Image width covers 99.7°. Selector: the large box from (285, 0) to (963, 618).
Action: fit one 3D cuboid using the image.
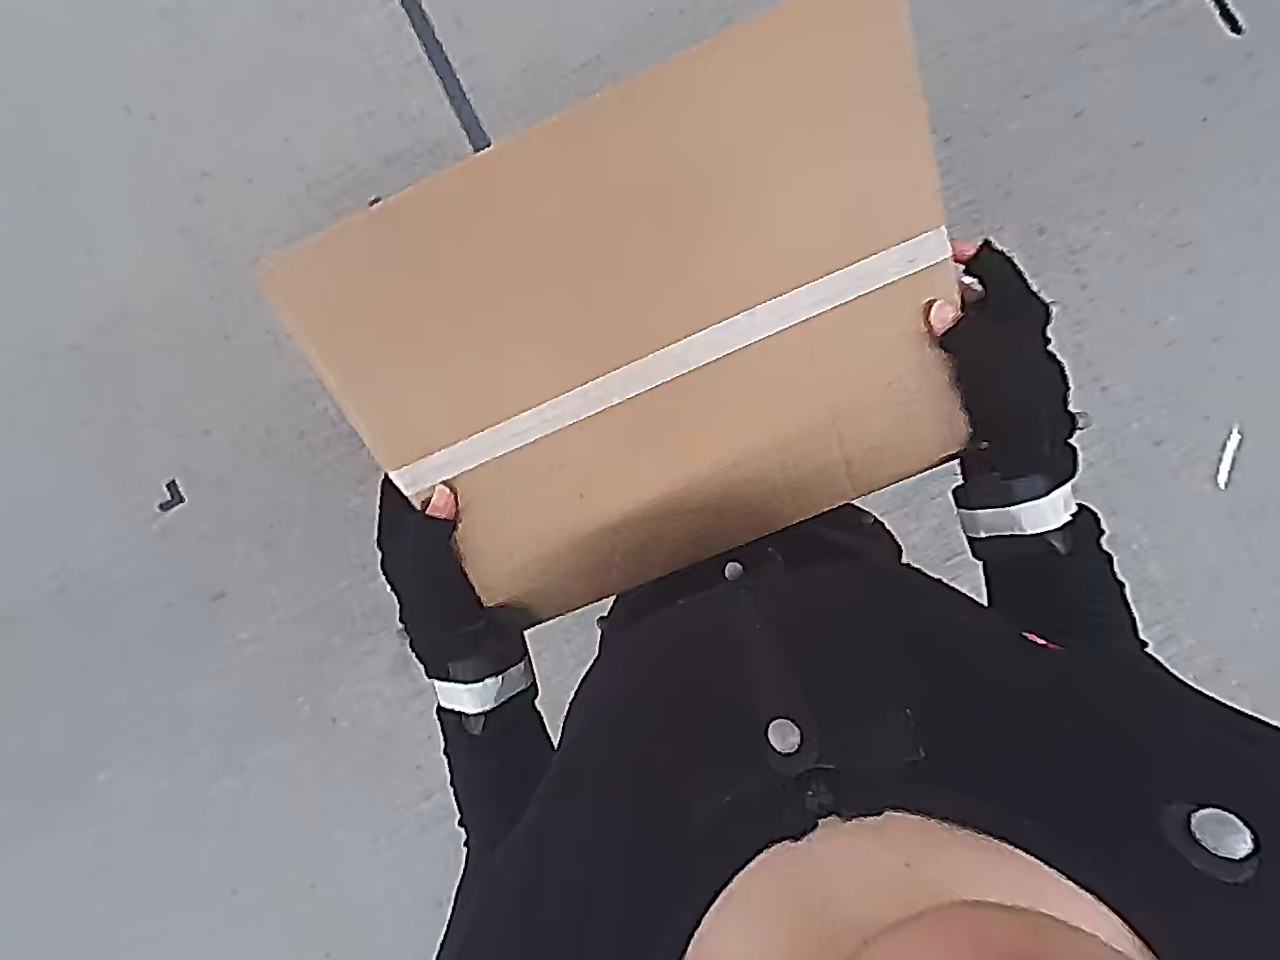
[{"bbox_3d":[0.000,-0.143,0.515,0.408,0.320,0.320,-23,115,6],"label":"large box"}]
